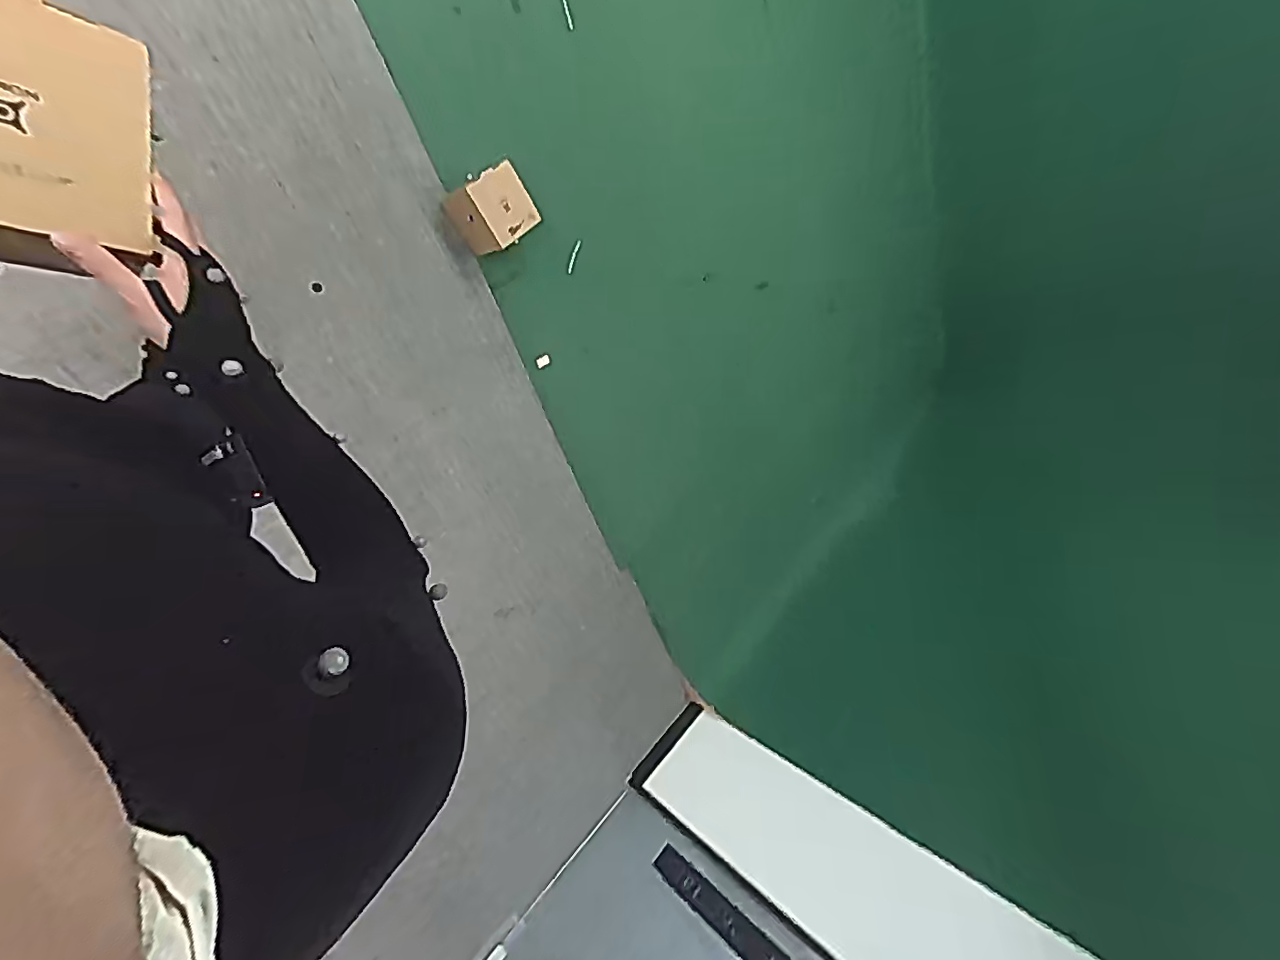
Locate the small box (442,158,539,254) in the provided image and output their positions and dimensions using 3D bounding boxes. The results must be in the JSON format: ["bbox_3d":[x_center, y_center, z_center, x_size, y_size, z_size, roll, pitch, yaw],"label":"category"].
[{"bbox_3d":[-0.433,-0.778,1.550,0.168,0.176,0.179,-49,127,-23],"label":"small box"}]

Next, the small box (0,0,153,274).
[{"bbox_3d":[-0.525,-0.289,0.448,0.168,0.176,0.179,-2,97,-46],"label":"small box"}]
